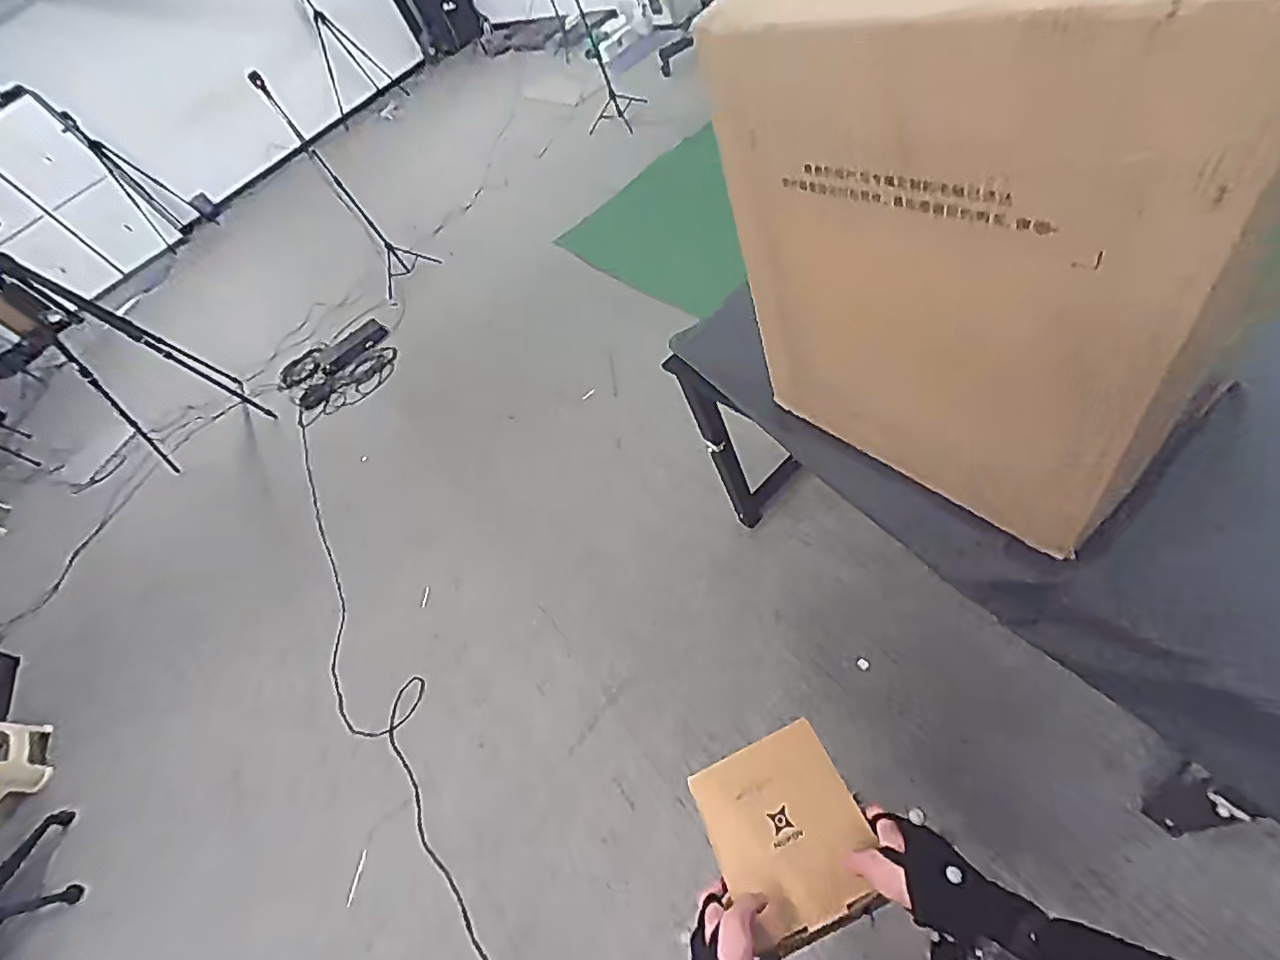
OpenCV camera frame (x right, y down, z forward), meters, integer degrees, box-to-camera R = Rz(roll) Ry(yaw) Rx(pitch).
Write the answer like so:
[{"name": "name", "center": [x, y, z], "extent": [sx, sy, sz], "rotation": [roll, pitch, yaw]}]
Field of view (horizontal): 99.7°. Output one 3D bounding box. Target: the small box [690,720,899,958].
[{"name": "small box", "center": [0.185, 0.431, 0.648], "extent": [0.168, 0.176, 0.179], "rotation": [-28, 43, -2]}]
